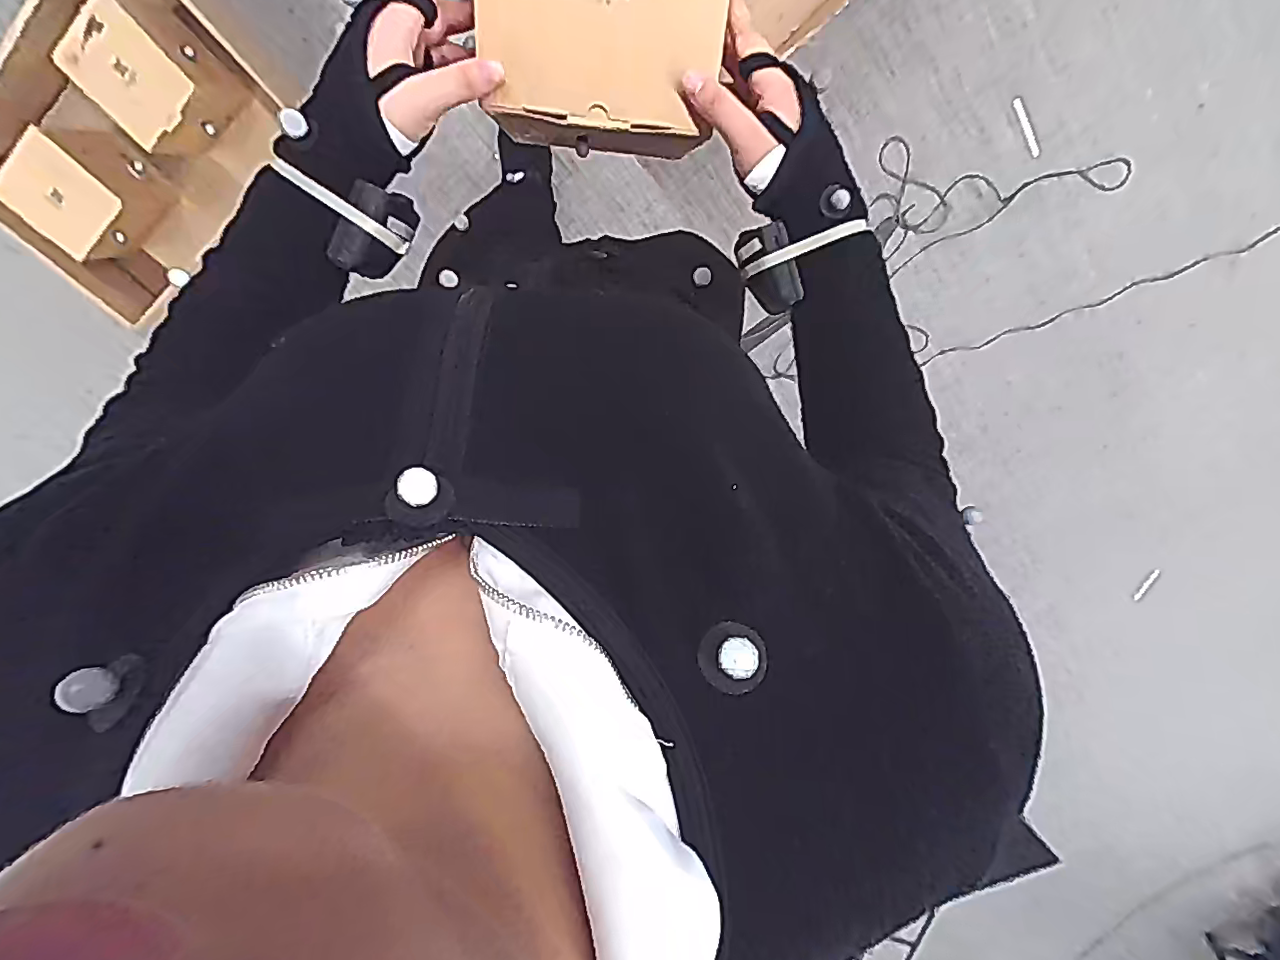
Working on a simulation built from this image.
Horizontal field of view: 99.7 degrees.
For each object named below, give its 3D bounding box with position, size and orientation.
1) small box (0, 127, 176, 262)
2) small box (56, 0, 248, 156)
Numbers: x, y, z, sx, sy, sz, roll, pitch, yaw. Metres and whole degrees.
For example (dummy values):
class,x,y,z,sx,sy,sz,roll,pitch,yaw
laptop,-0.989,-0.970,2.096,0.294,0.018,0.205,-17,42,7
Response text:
class,x,y,z,sx,sy,sz,roll,pitch,yaw
small box,-1.115,-0.578,1.104,0.179,0.176,0.168,-36,117,15
small box,-0.897,-0.747,1.016,0.168,0.176,0.179,-33,117,16
